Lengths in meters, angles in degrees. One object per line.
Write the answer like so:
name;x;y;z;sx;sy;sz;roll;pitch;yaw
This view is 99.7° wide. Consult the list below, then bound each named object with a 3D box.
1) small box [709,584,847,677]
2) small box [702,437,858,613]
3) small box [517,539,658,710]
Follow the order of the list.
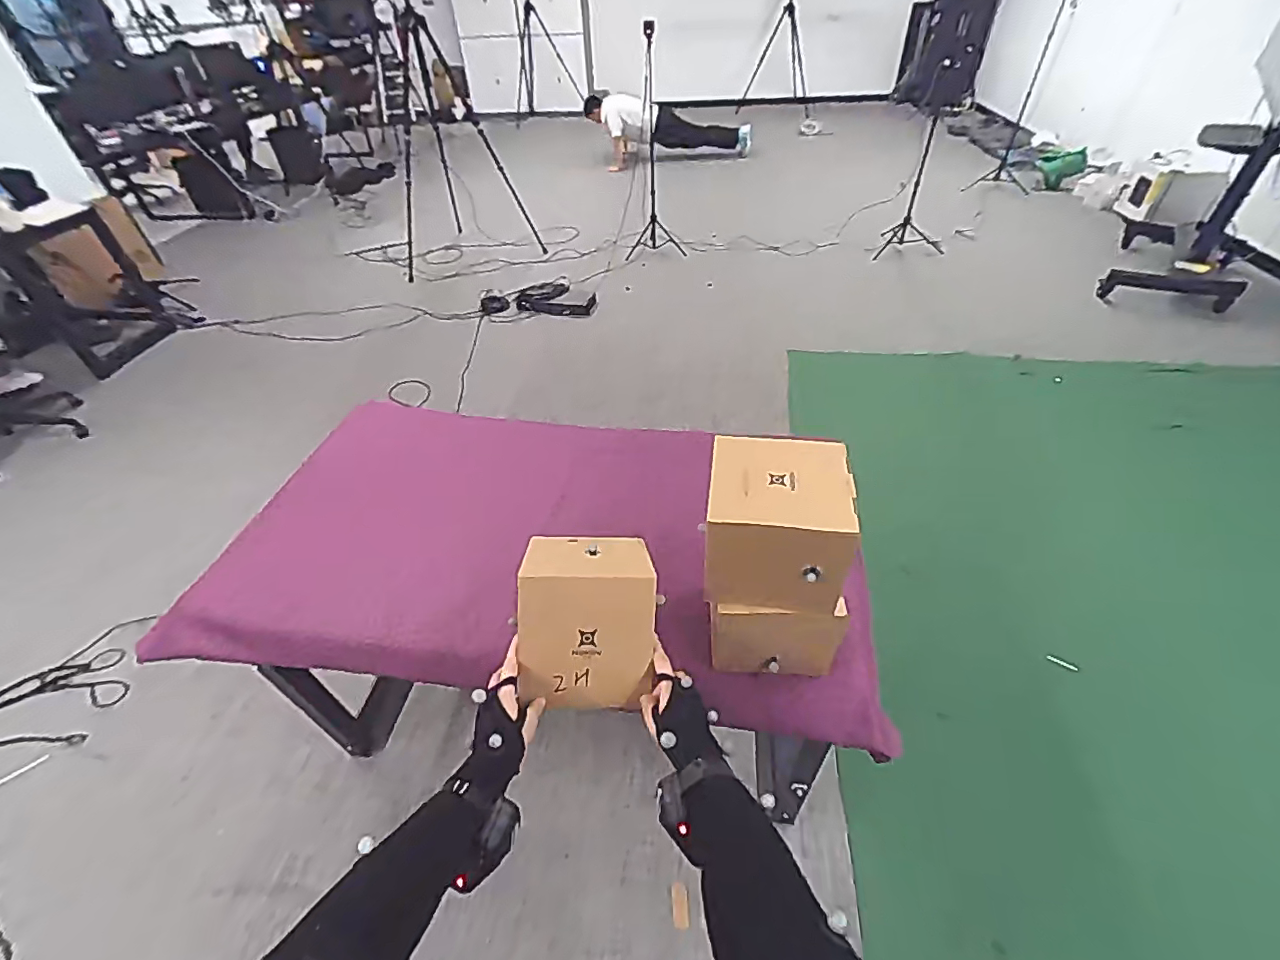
small box;0.199;0.188;0.835;0.179;0.176;0.168;1;43;5
small box;0.180;0.062;0.732;0.179;0.176;0.168;4;43;10
small box;-0.073;0.184;0.730;0.168;0.179;0.176;2;10;-7
